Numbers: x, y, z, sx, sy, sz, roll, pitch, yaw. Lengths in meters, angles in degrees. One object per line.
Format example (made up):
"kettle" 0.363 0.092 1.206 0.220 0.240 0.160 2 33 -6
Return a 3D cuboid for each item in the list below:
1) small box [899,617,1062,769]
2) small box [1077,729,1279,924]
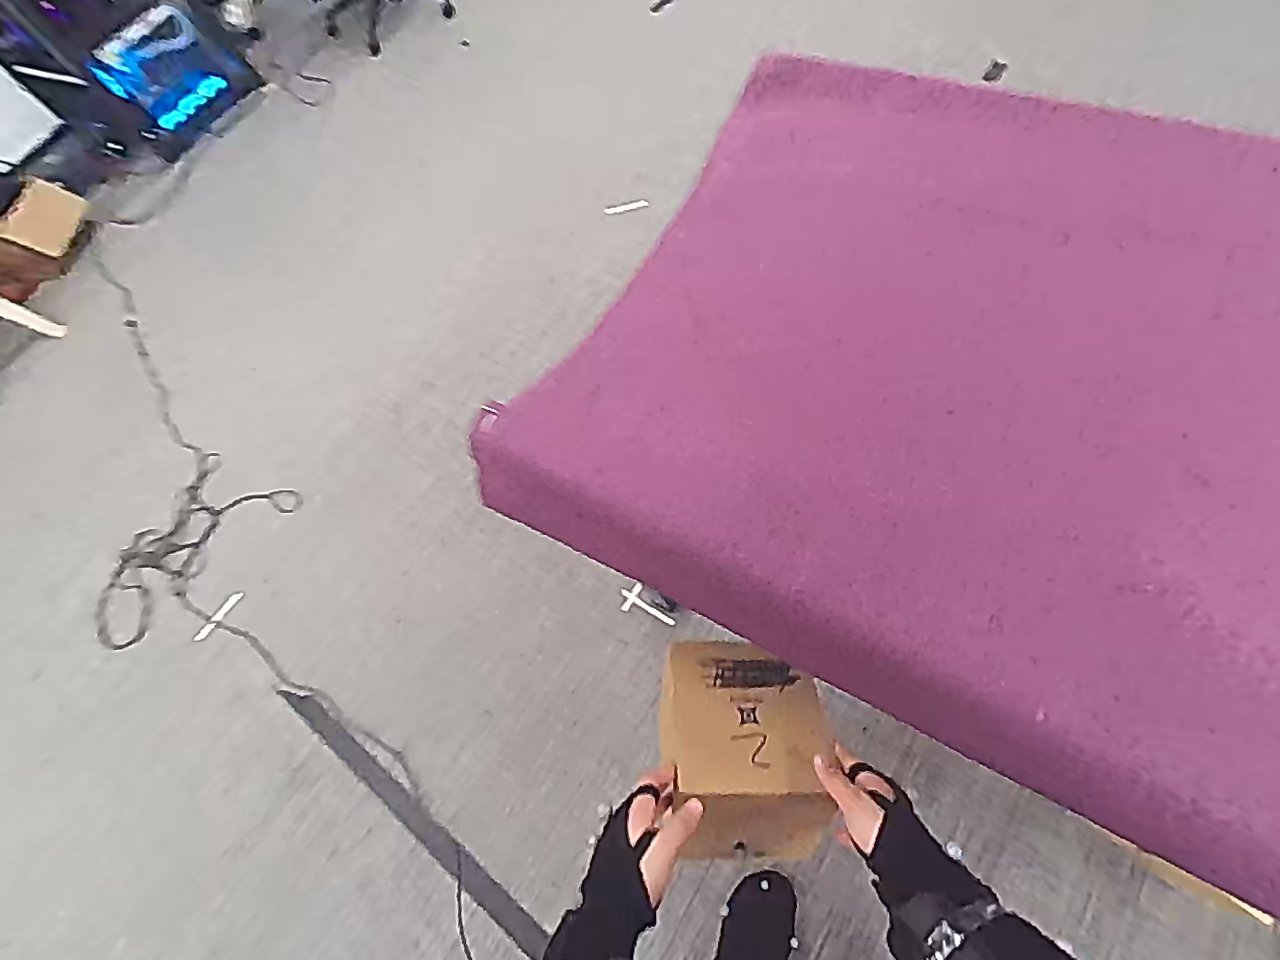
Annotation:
"small box" 0.576 0.370 0.941 0.168 0.176 0.179 29 73 21
"small box" 0.825 0.512 0.829 0.168 0.176 0.179 36 76 24
